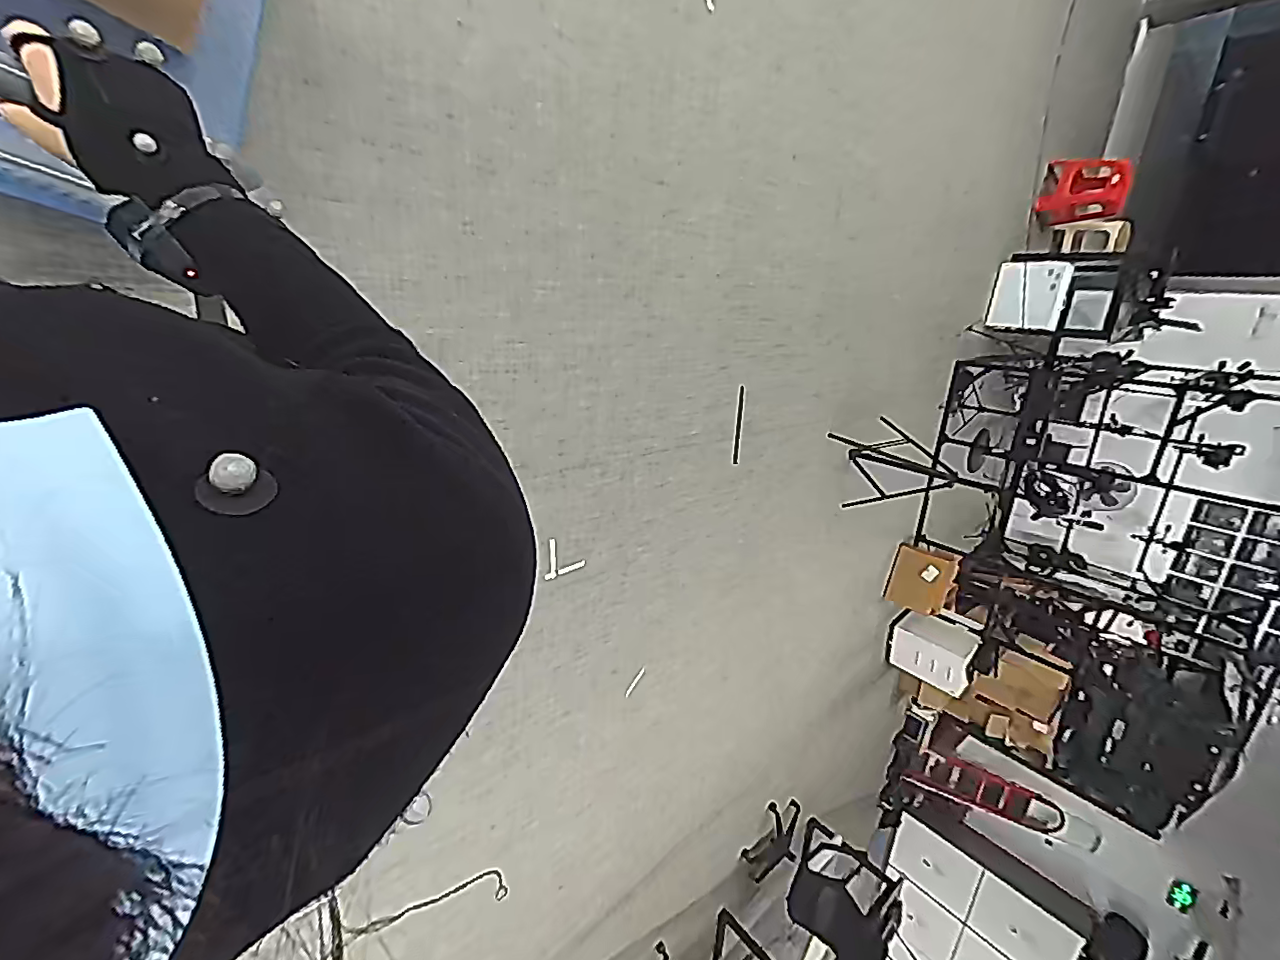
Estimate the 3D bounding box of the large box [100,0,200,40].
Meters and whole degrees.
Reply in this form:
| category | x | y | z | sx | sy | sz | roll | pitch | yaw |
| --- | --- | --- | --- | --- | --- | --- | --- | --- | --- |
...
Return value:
| category | x | y | z | sx | sy | sz | roll | pitch | yaw |
| --- | --- | --- | --- | --- | --- | --- | --- | --- | --- |
| large box | -0.760 | -0.851 | 0.643 | 0.408 | 0.320 | 0.320 | 10 | 98 | -44 |
